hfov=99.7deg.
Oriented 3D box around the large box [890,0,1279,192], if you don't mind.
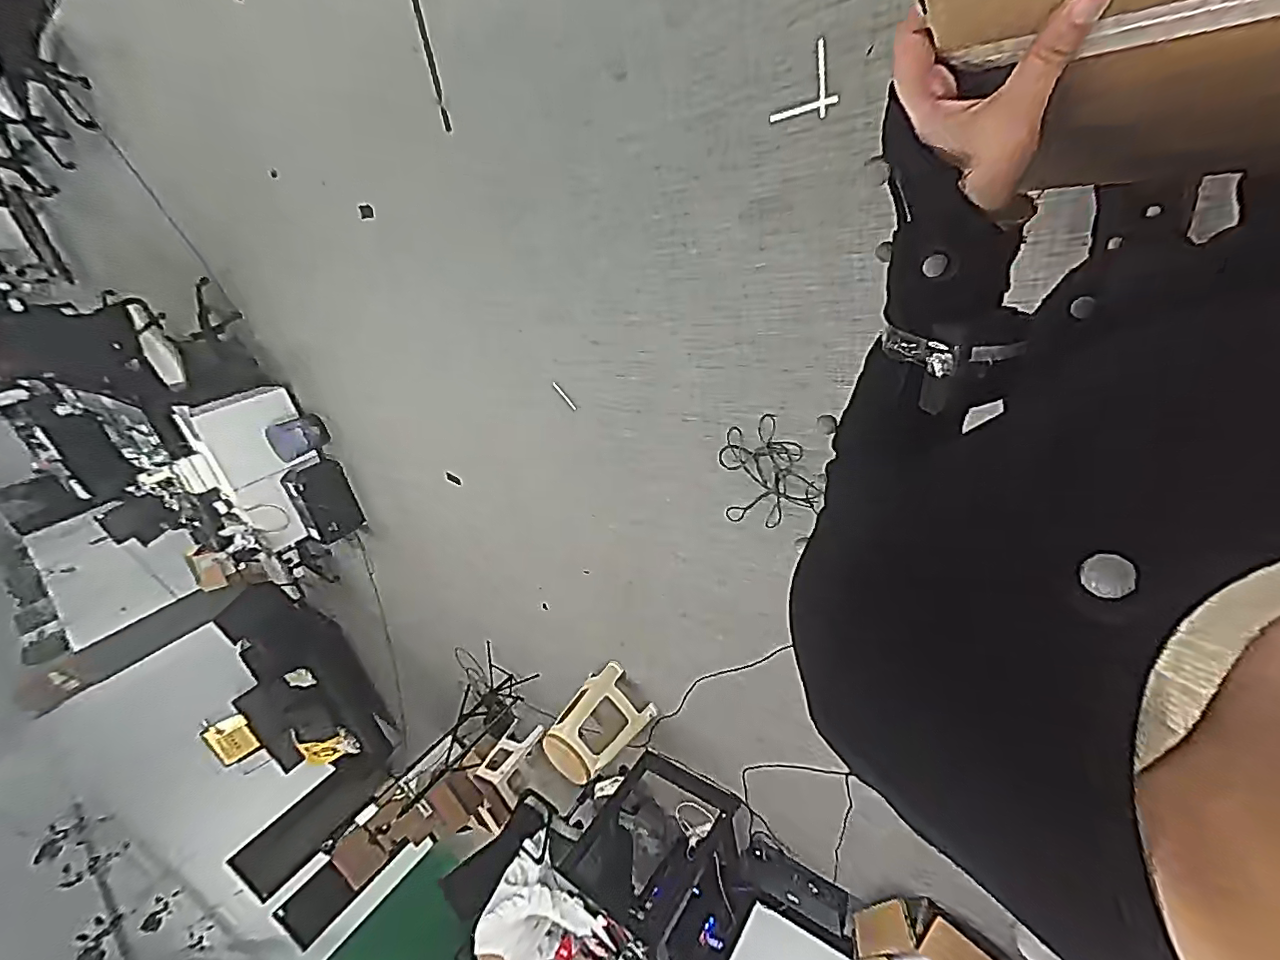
[{"bbox_3d":[0.321,-0.333,0.158,0.408,0.320,0.320,13,98,36],"label":"large box"}]
